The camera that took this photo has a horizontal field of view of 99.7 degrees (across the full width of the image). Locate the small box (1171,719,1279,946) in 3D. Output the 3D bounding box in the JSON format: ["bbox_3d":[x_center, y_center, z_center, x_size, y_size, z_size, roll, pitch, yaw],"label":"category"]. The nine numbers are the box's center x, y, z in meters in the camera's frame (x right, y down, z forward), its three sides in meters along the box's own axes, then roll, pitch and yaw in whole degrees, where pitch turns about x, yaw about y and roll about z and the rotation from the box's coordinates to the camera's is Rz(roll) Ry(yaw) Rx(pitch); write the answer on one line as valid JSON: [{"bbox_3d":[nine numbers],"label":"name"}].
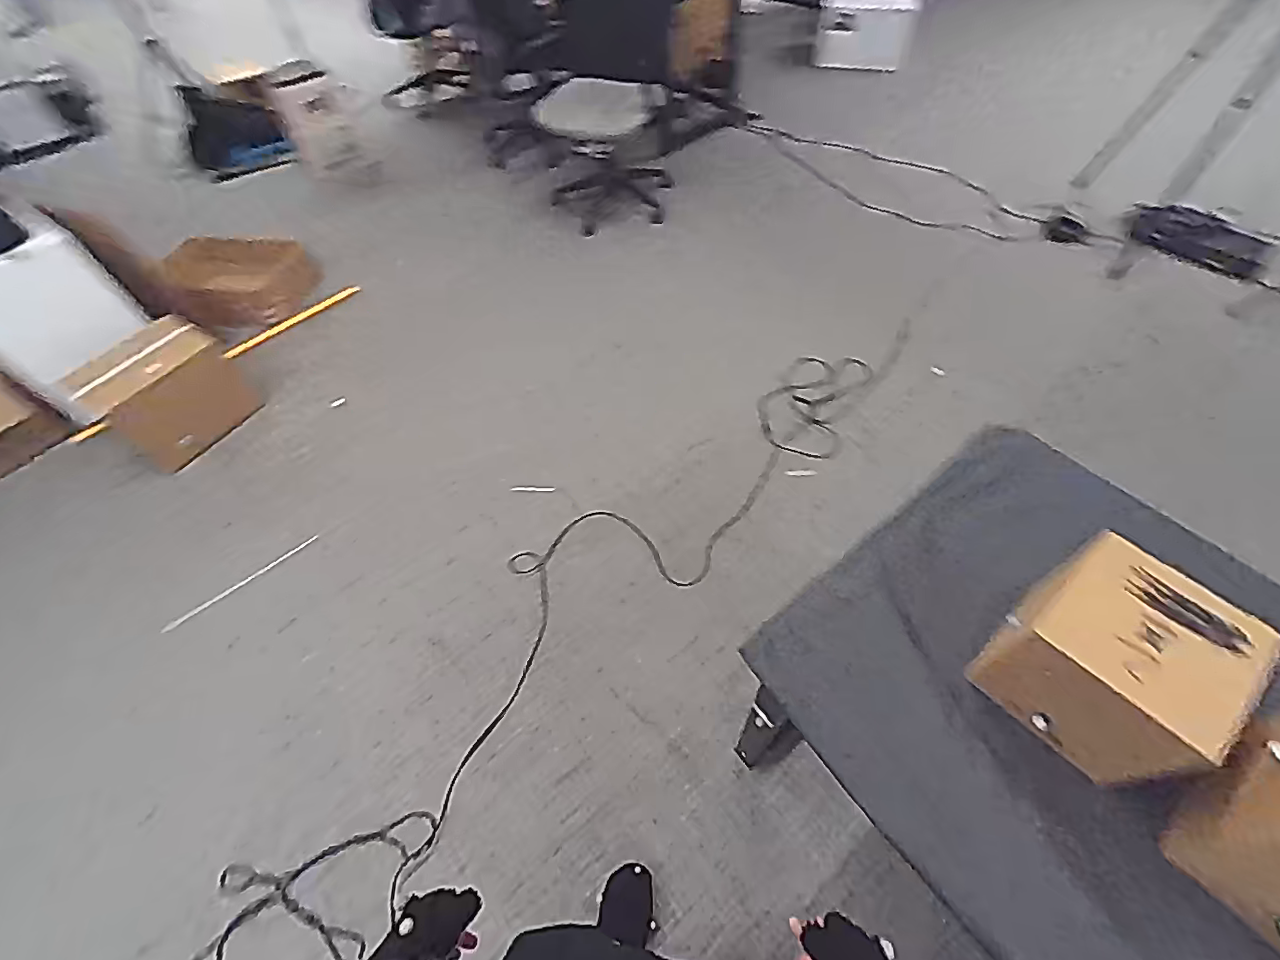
[{"bbox_3d":[0.656,0.335,0.493,0.179,0.176,0.168,-36,59,-21],"label":"small box"}]
